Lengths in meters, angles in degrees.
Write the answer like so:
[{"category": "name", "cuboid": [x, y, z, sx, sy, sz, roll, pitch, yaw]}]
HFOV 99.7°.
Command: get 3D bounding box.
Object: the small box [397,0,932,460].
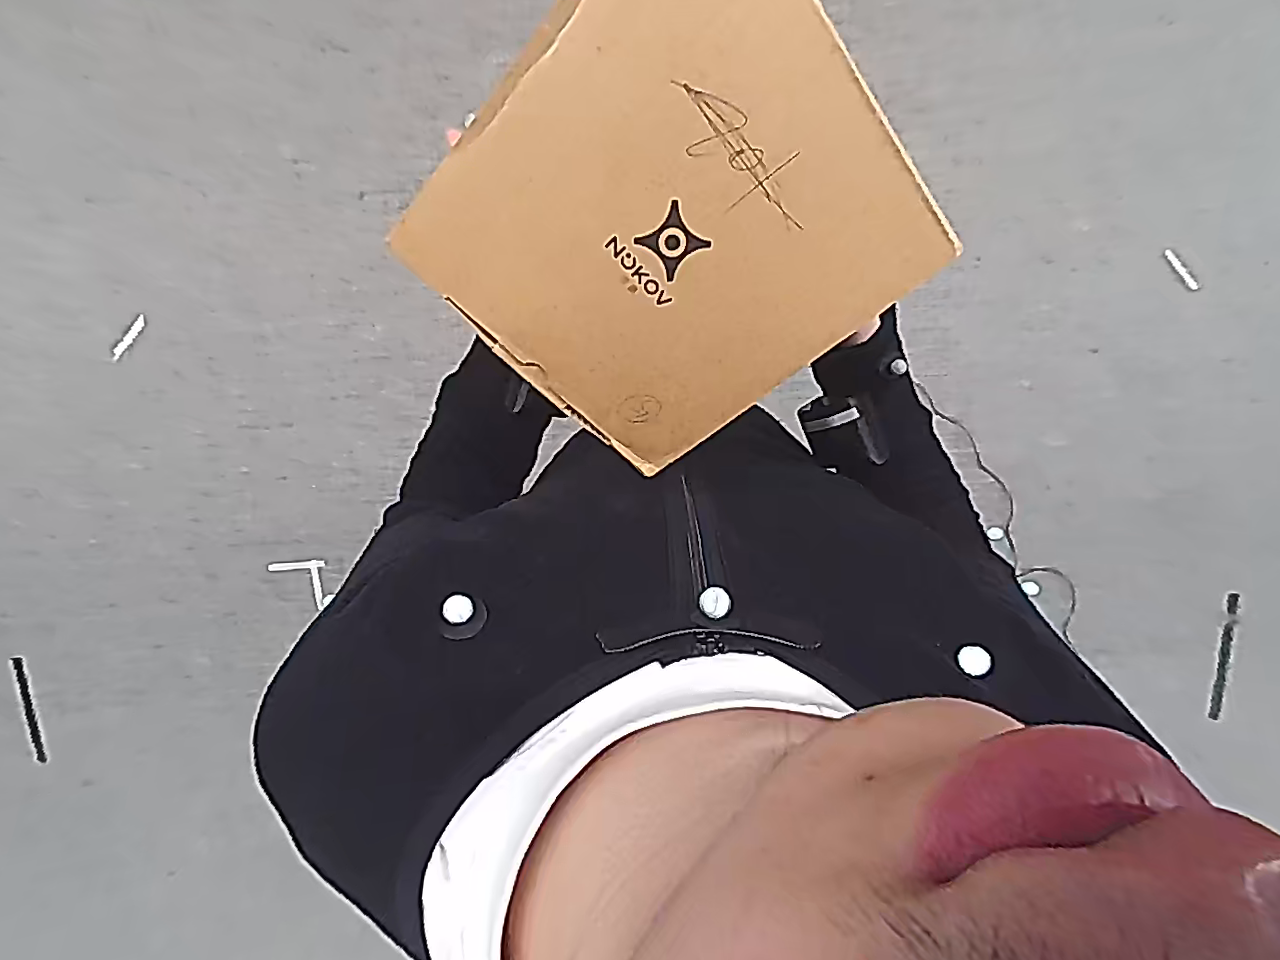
[{"category": "small box", "cuboid": [0.012, -0.151, 0.296, 0.179, 0.176, 0.168, -37, 117, 26]}]
